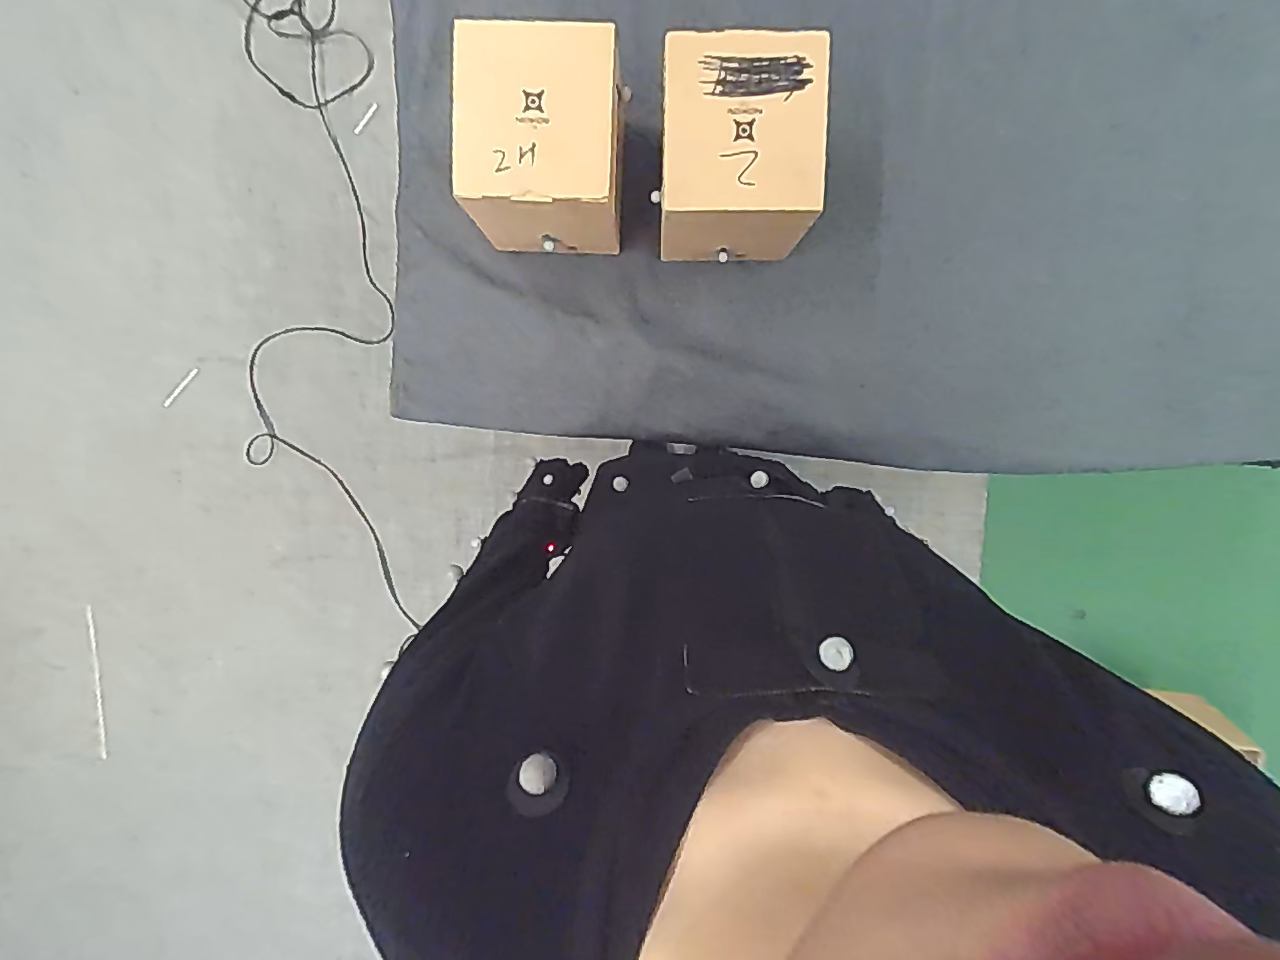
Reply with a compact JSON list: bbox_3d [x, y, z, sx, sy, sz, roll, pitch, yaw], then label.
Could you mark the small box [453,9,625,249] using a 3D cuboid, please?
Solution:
[{"bbox_3d":[-0.105,-0.390,0.630,0.168,0.176,0.179,3,95,1],"label":"small box"}]
